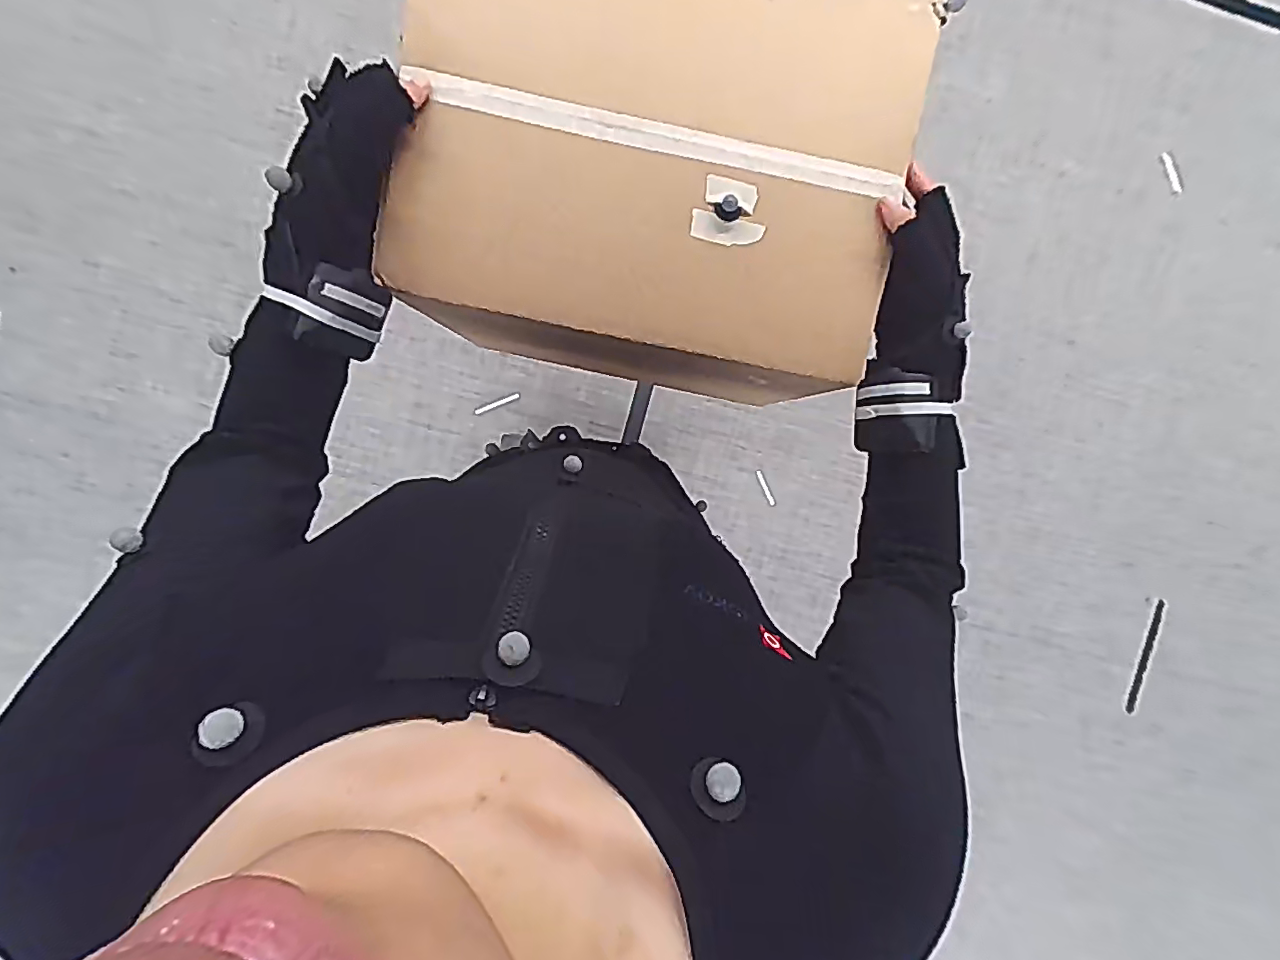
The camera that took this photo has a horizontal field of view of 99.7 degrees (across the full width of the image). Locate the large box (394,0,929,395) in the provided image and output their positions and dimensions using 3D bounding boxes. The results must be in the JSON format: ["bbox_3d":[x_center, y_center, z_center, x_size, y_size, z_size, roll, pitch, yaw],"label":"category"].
[{"bbox_3d":[0.010,-0.289,0.590,0.408,0.320,0.320,11,95,-3],"label":"large box"}]

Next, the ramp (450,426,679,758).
[{"bbox_3d":[-0.242,0.373,1.601,0.509,0.206,0.991,12,94,-5],"label":"ramp"}]
